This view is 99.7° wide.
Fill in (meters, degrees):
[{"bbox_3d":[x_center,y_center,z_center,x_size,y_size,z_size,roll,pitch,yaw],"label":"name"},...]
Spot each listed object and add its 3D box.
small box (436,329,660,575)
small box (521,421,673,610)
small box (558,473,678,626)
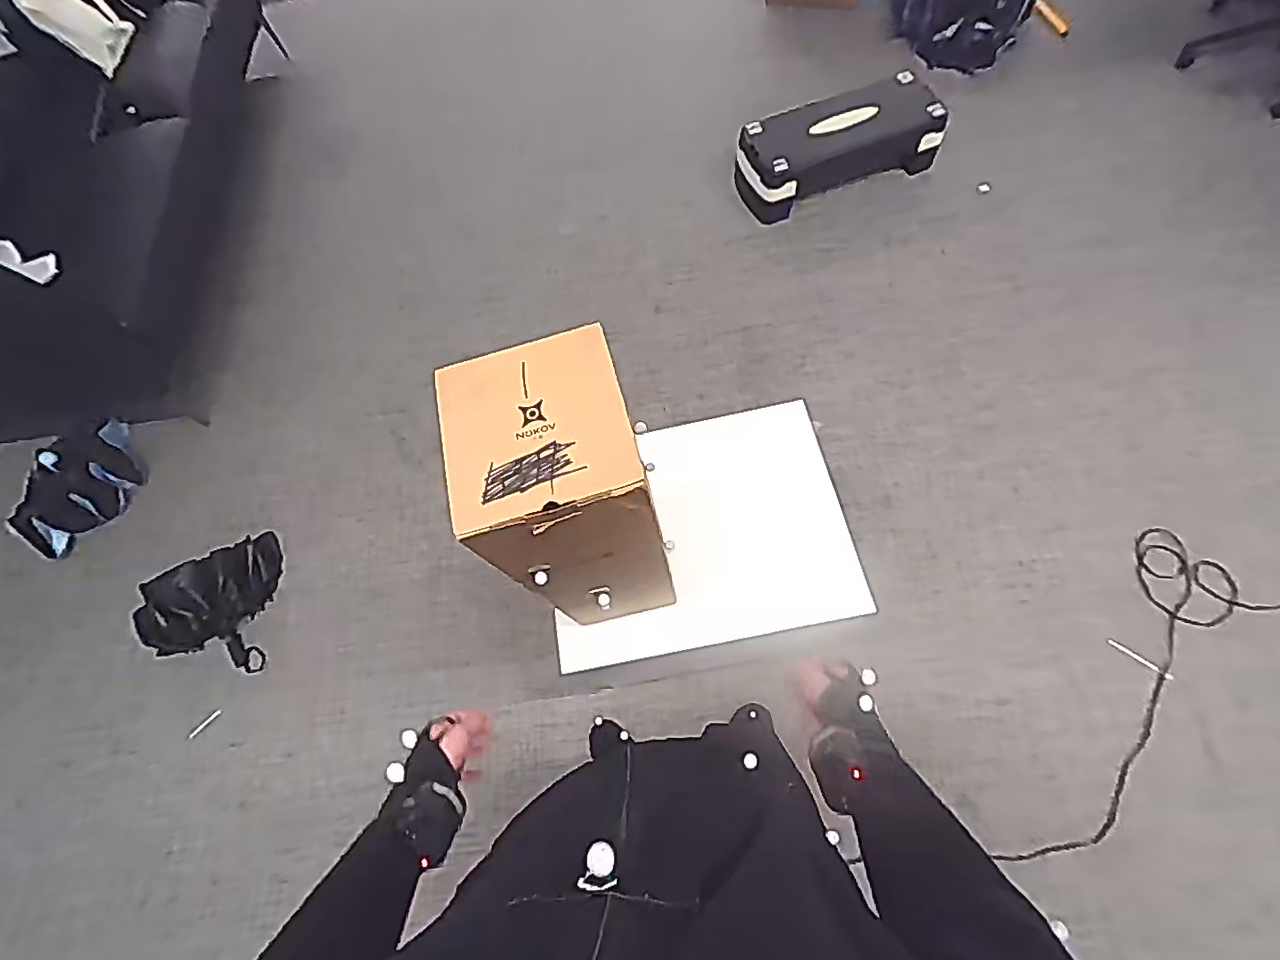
[{"bbox_3d":[-0.084,-0.014,0.547,0.168,0.176,0.179,-16,64,1],"label":"small box"},{"bbox_3d":[-0.060,0.052,0.697,0.168,0.176,0.179,-16,66,1],"label":"small box"},{"bbox_3d":[-0.041,0.114,0.846,0.168,0.176,0.179,-14,65,1],"label":"small box"}]
